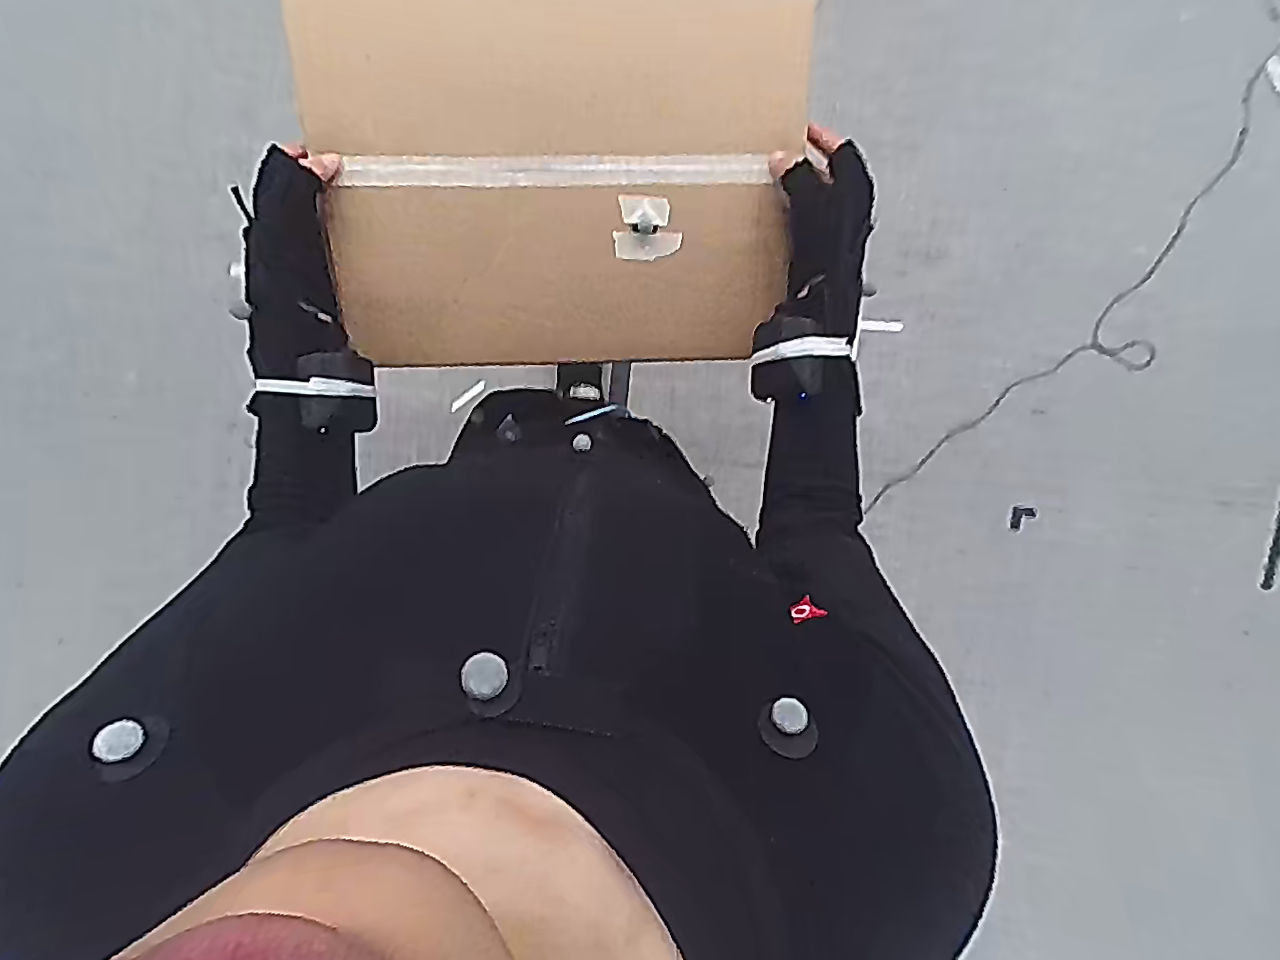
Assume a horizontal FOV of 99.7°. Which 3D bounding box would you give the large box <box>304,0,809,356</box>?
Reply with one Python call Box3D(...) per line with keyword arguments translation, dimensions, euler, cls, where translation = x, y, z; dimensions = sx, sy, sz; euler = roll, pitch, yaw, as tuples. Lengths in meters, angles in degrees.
Box3D(translation=(-0.072, -0.315, 0.602), dimensions=(0.408, 0.320, 0.320), euler=(-2, 109, -5), cls="large box")
